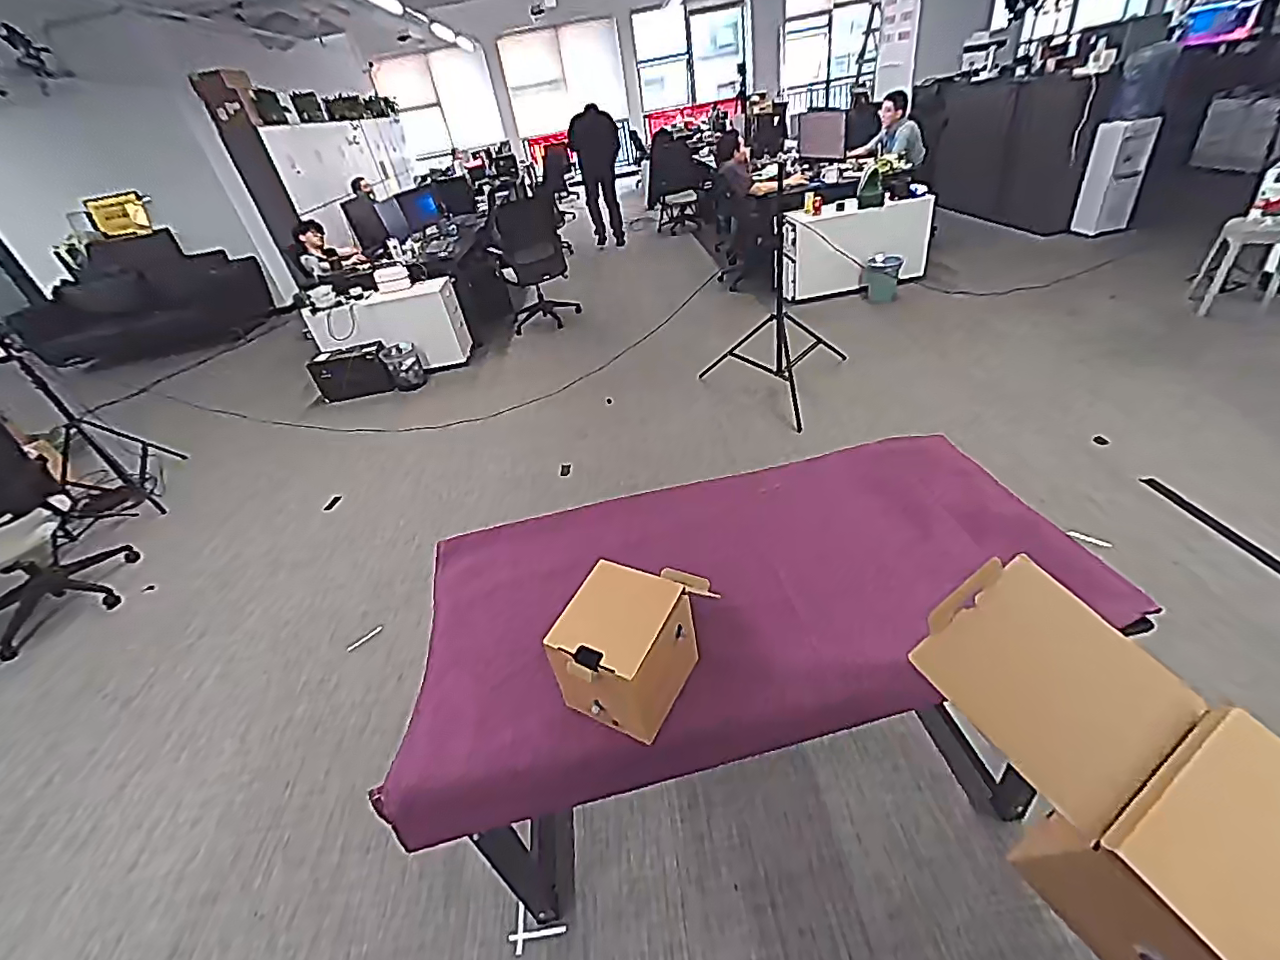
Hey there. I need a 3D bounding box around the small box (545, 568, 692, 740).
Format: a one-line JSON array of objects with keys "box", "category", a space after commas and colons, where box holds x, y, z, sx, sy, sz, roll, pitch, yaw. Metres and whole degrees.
[{"box": [-0.024, 0.278, 0.882, 0.168, 0.176, 0.179, 11, 40, 30], "category": "small box"}]
